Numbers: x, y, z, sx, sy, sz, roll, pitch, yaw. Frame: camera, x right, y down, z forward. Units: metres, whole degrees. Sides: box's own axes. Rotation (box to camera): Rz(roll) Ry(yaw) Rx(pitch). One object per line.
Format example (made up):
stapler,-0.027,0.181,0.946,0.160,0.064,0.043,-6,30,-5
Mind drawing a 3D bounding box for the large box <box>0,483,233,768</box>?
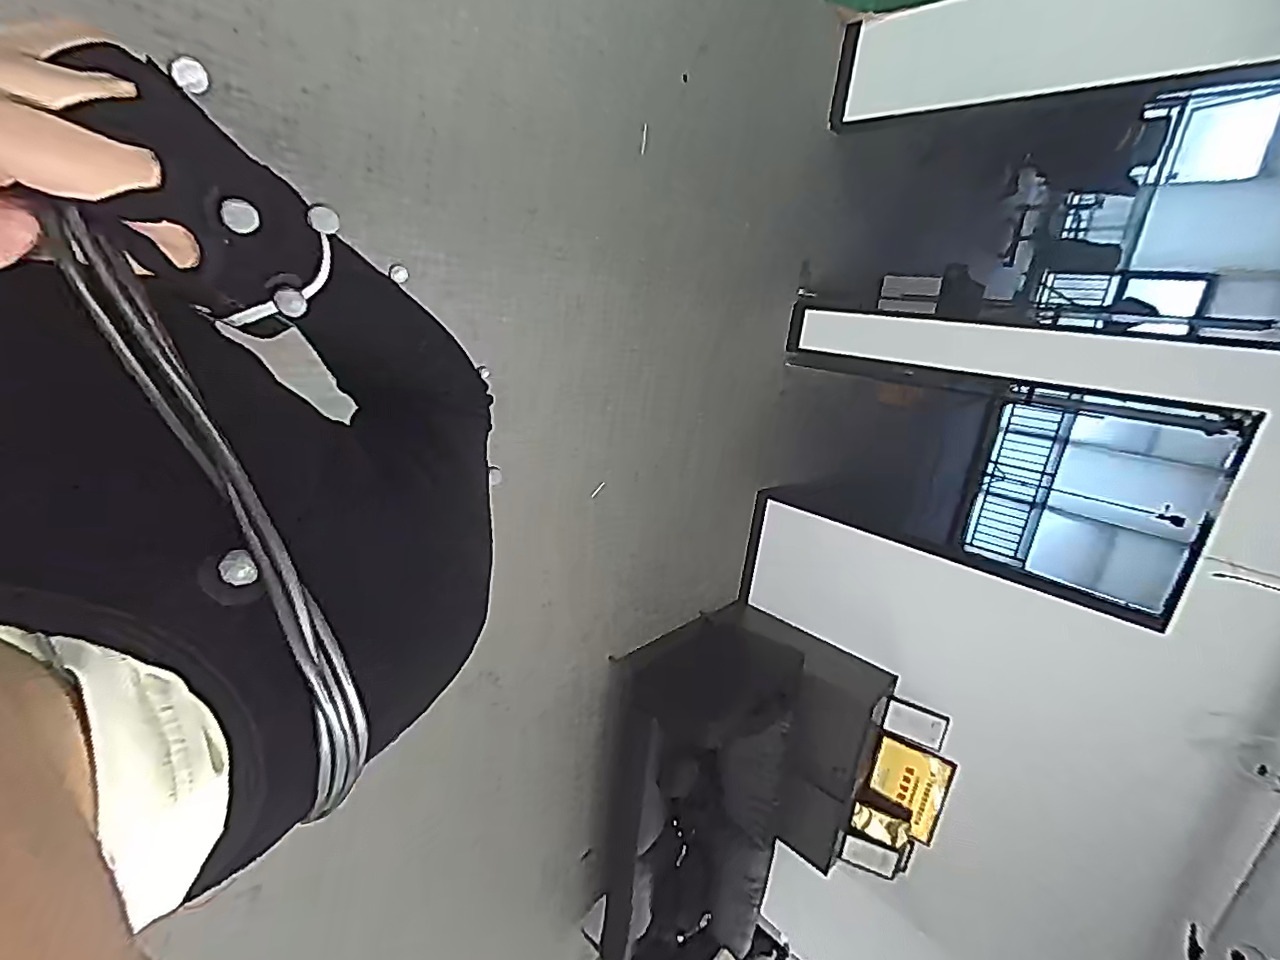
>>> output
large box,-1.027,0.238,1.039,0.320,0.320,0.408,1,105,-50
